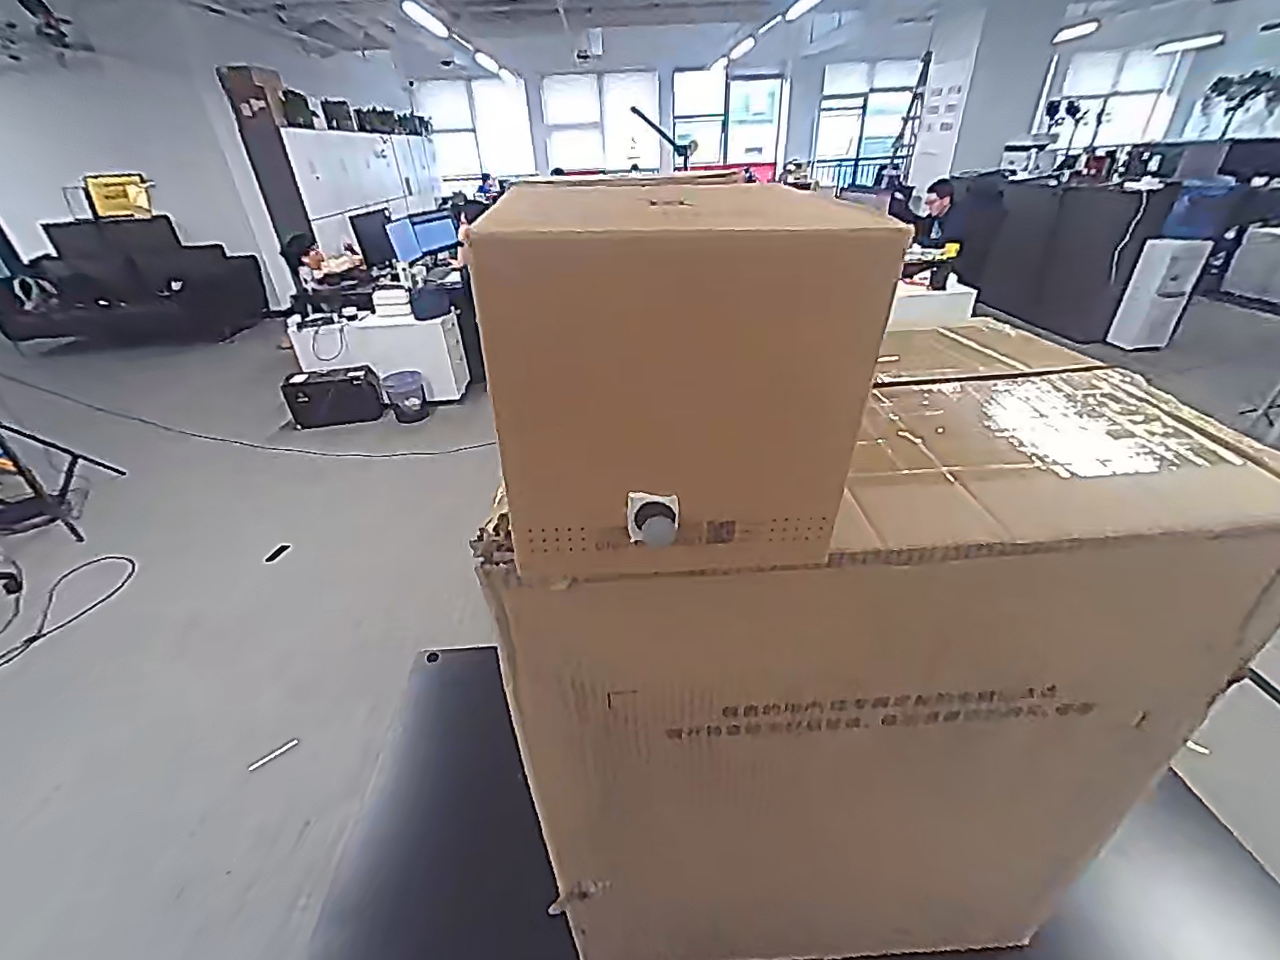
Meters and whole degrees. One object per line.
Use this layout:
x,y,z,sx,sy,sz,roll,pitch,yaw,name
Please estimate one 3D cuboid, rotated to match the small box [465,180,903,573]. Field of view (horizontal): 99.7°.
0.011,-0.069,0.309,0.168,0.176,0.179,-4,34,-4,small box
